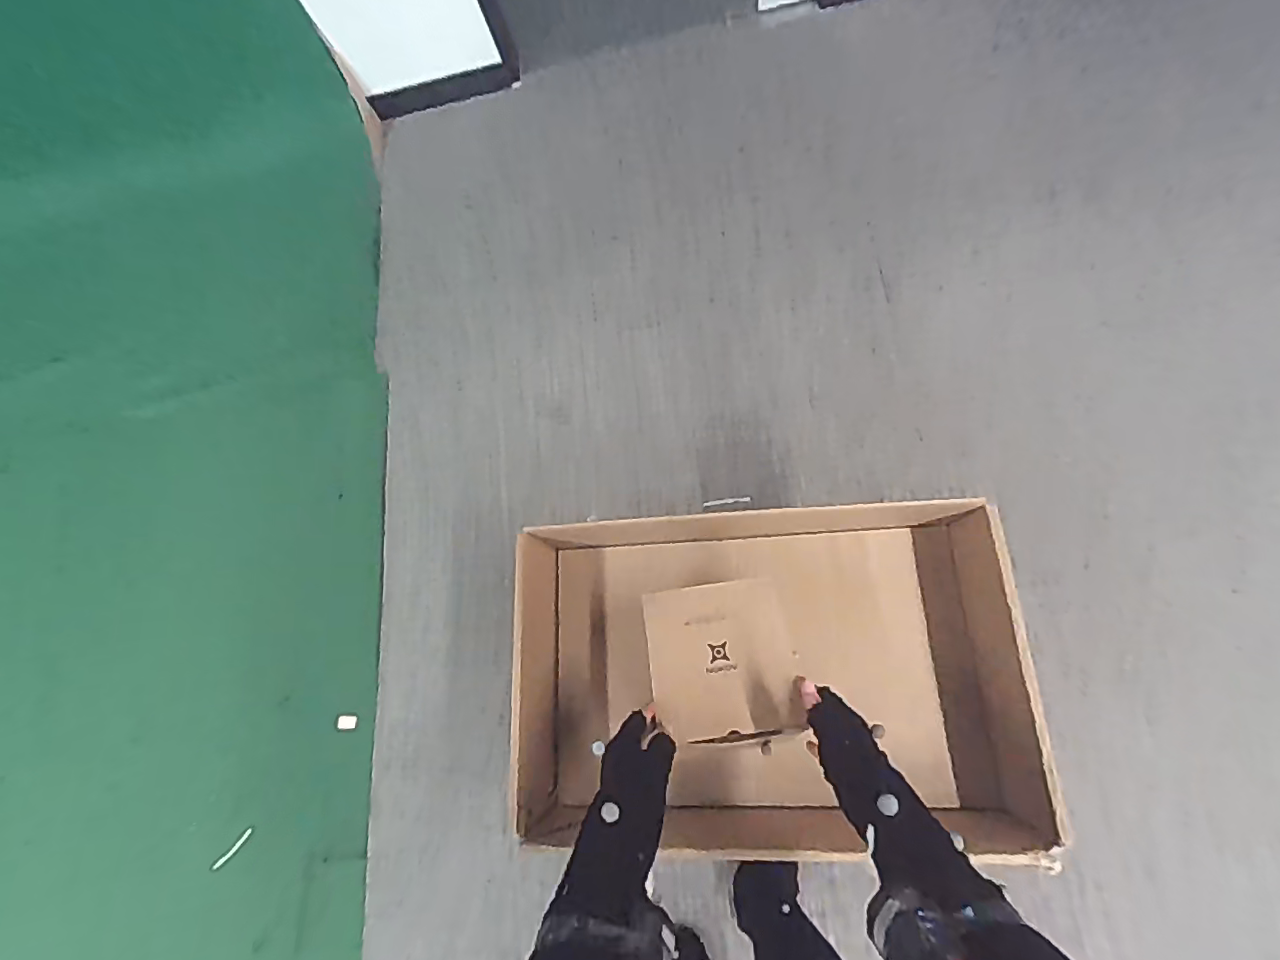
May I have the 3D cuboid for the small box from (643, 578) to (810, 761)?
[{"bbox_3d":[0.105,0.249,0.690,0.168,0.176,0.179,-11,55,2],"label":"small box"}]
